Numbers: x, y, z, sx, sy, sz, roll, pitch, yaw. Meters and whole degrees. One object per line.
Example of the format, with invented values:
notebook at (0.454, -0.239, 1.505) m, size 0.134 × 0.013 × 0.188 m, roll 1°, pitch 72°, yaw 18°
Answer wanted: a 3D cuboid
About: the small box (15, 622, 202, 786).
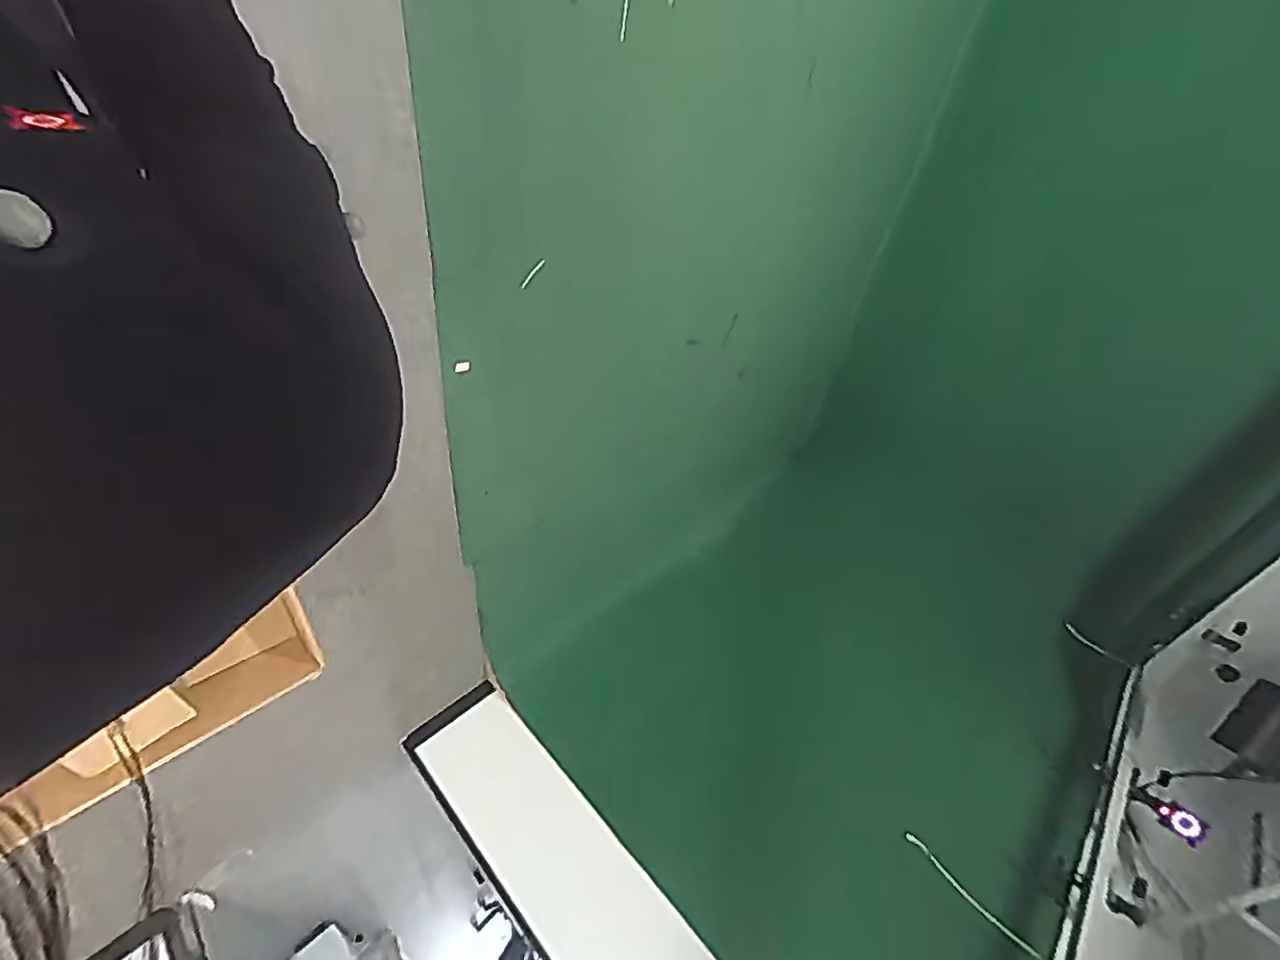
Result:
small box at (-0.929, 0.387, 0.954) m, size 0.168 × 0.176 × 0.179 m, roll -33°, pitch 144°, yaw -34°
